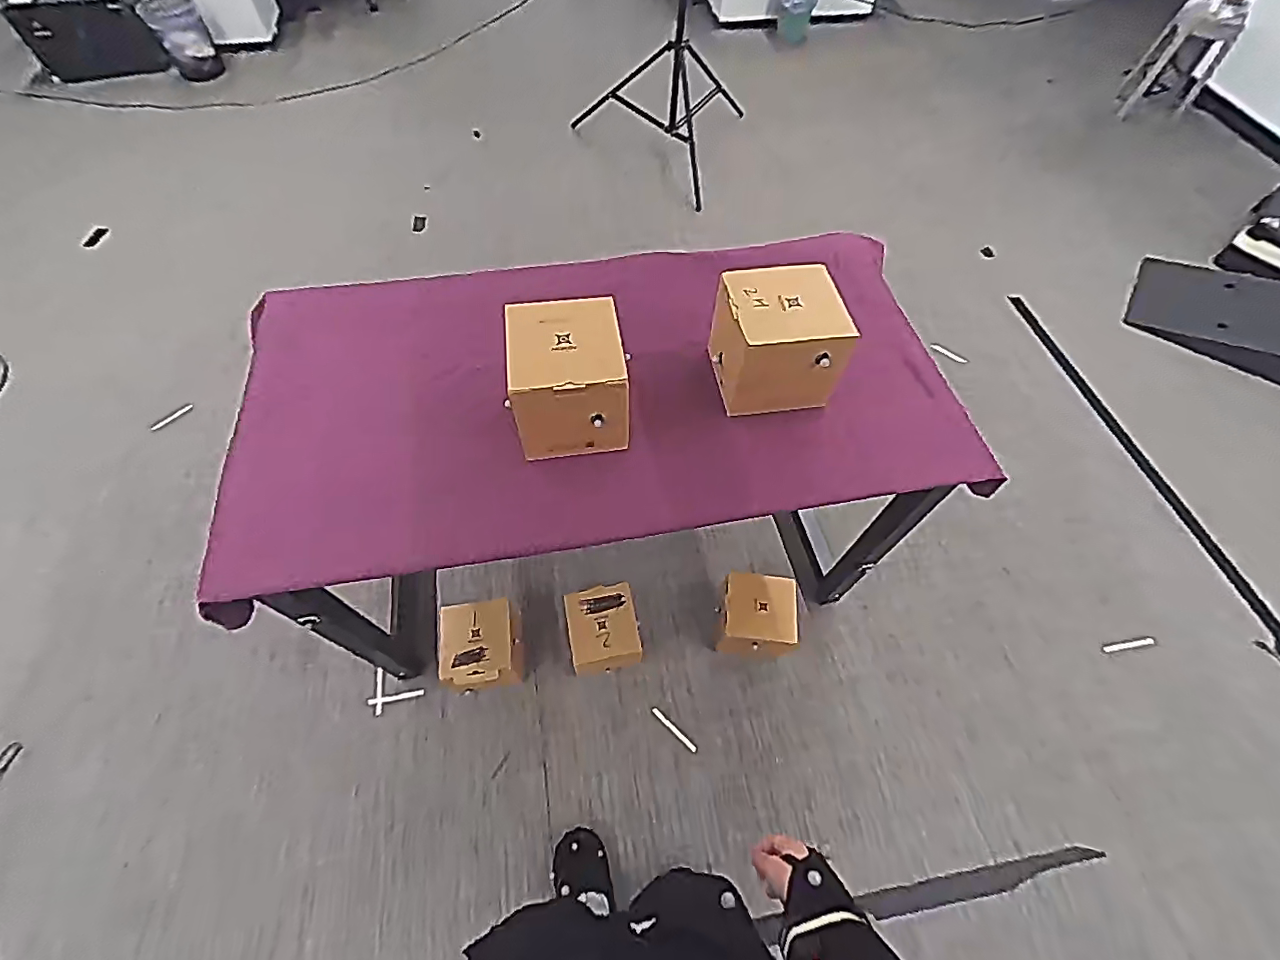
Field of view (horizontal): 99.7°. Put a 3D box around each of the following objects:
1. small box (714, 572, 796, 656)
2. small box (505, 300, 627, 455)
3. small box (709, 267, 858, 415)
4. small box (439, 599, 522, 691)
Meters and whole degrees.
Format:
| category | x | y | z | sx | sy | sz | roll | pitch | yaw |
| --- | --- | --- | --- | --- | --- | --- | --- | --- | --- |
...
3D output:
| category | x | y | z | sx | sy | sz | roll | pitch | yaw |
| --- | --- | --- | --- | --- | --- | --- | --- | --- | --- |
| small box | 0.296 | 0.353 | 1.407 | 0.179 | 0.176 | 0.168 | 6 | 60 | 2 |
| small box | -0.112 | -0.152 | 0.844 | 0.168 | 0.176 | 0.179 | -7 | 58 | -7 |
| small box | 0.224 | -0.227 | 0.899 | 0.179 | 0.176 | 0.168 | -7 | 59 | -6 |
| small box | -0.390 | 0.415 | 1.344 | 0.168 | 0.176 | 0.179 | -8 | 59 | -7 |
